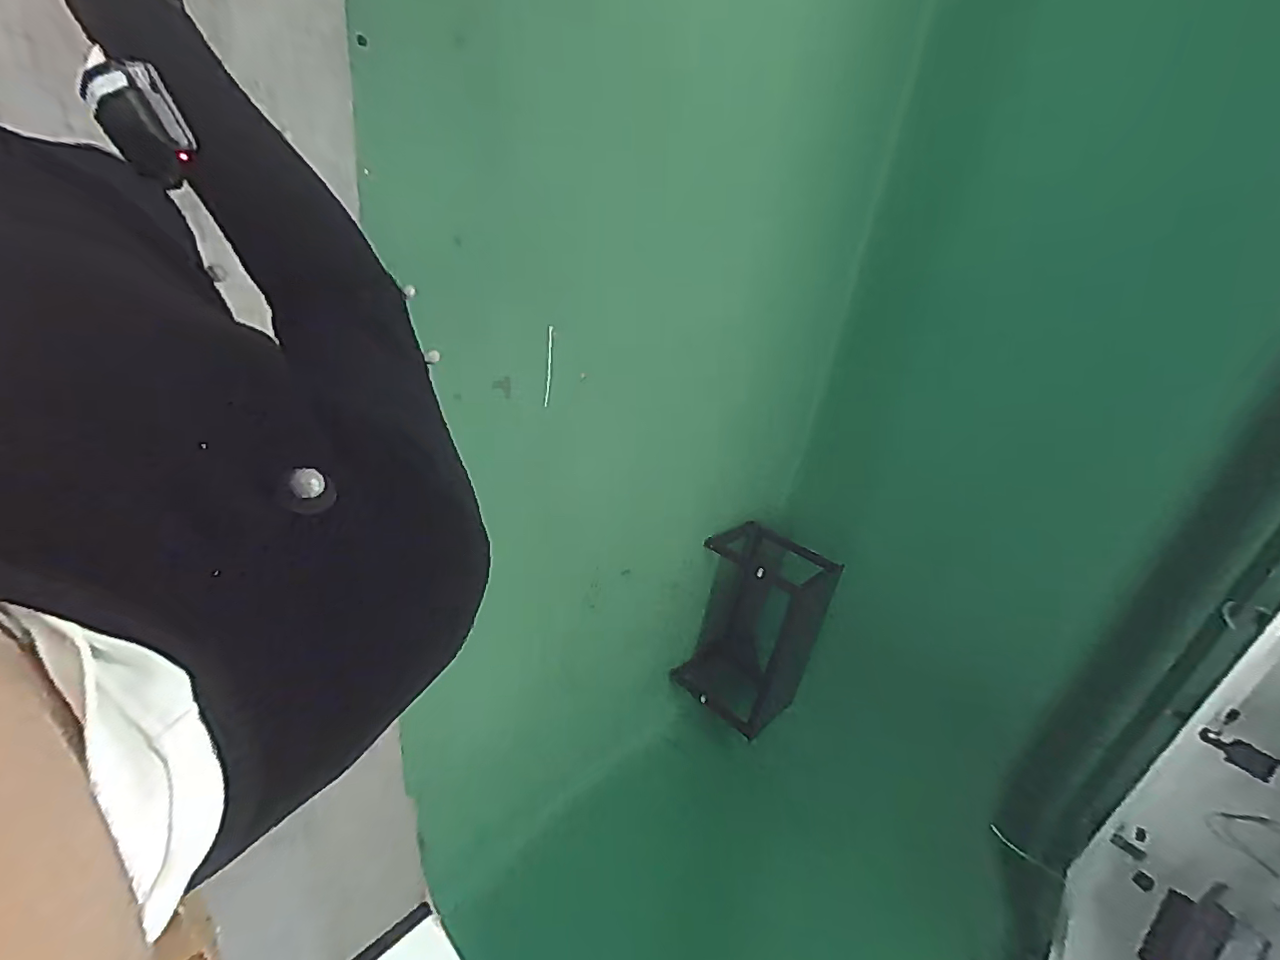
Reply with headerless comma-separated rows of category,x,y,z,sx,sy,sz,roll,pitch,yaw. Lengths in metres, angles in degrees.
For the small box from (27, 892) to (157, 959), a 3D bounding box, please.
small box,-1.200,1.071,1.194,0.168,0.176,0.179,-23,131,-43
